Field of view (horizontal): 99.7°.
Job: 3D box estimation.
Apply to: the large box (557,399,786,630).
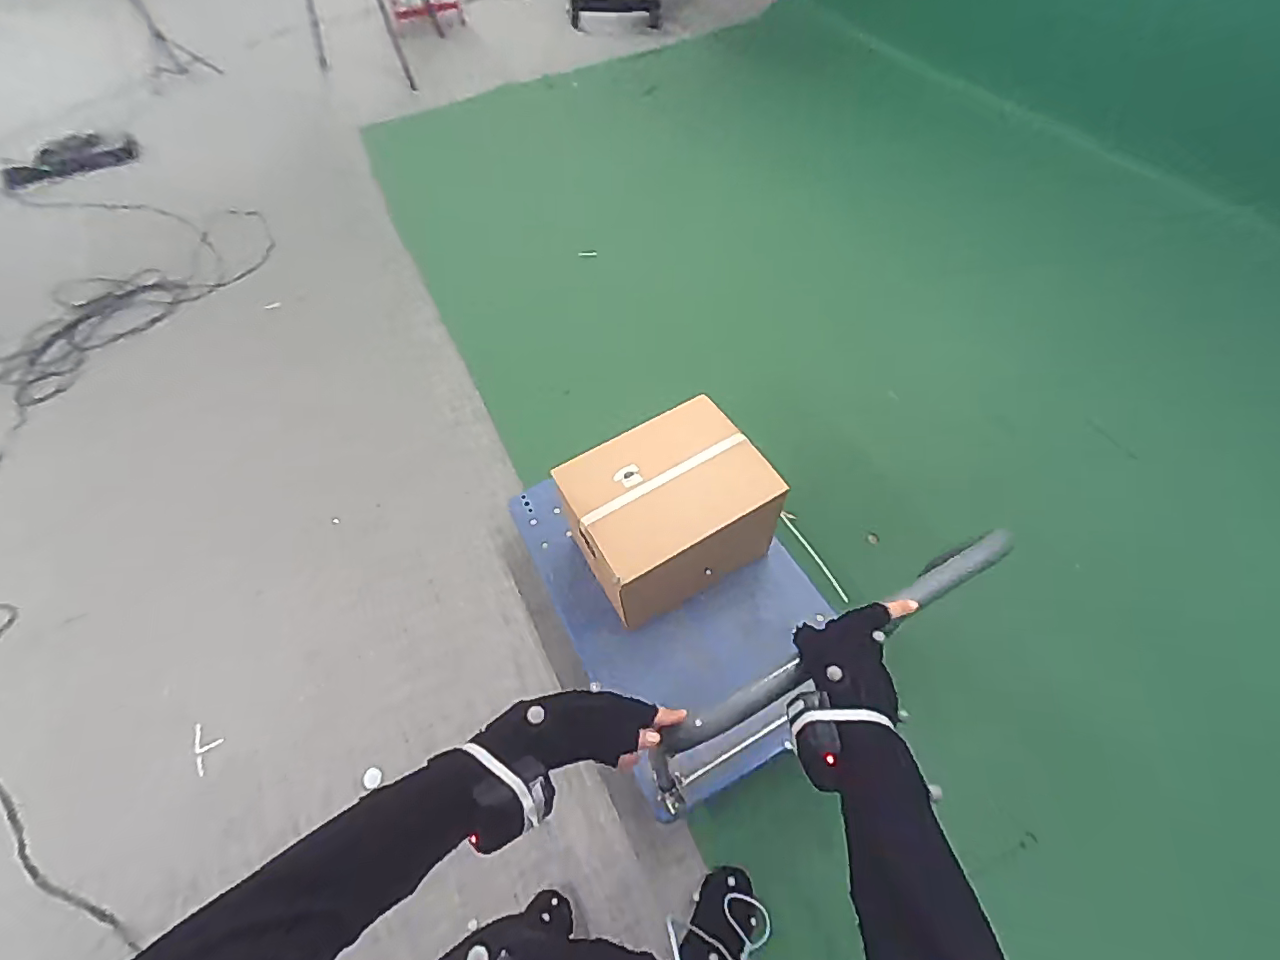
[{"bbox_3d":[0.070,0.085,1.274,0.408,0.320,0.320,-28,60,-13],"label":"large box"}]
